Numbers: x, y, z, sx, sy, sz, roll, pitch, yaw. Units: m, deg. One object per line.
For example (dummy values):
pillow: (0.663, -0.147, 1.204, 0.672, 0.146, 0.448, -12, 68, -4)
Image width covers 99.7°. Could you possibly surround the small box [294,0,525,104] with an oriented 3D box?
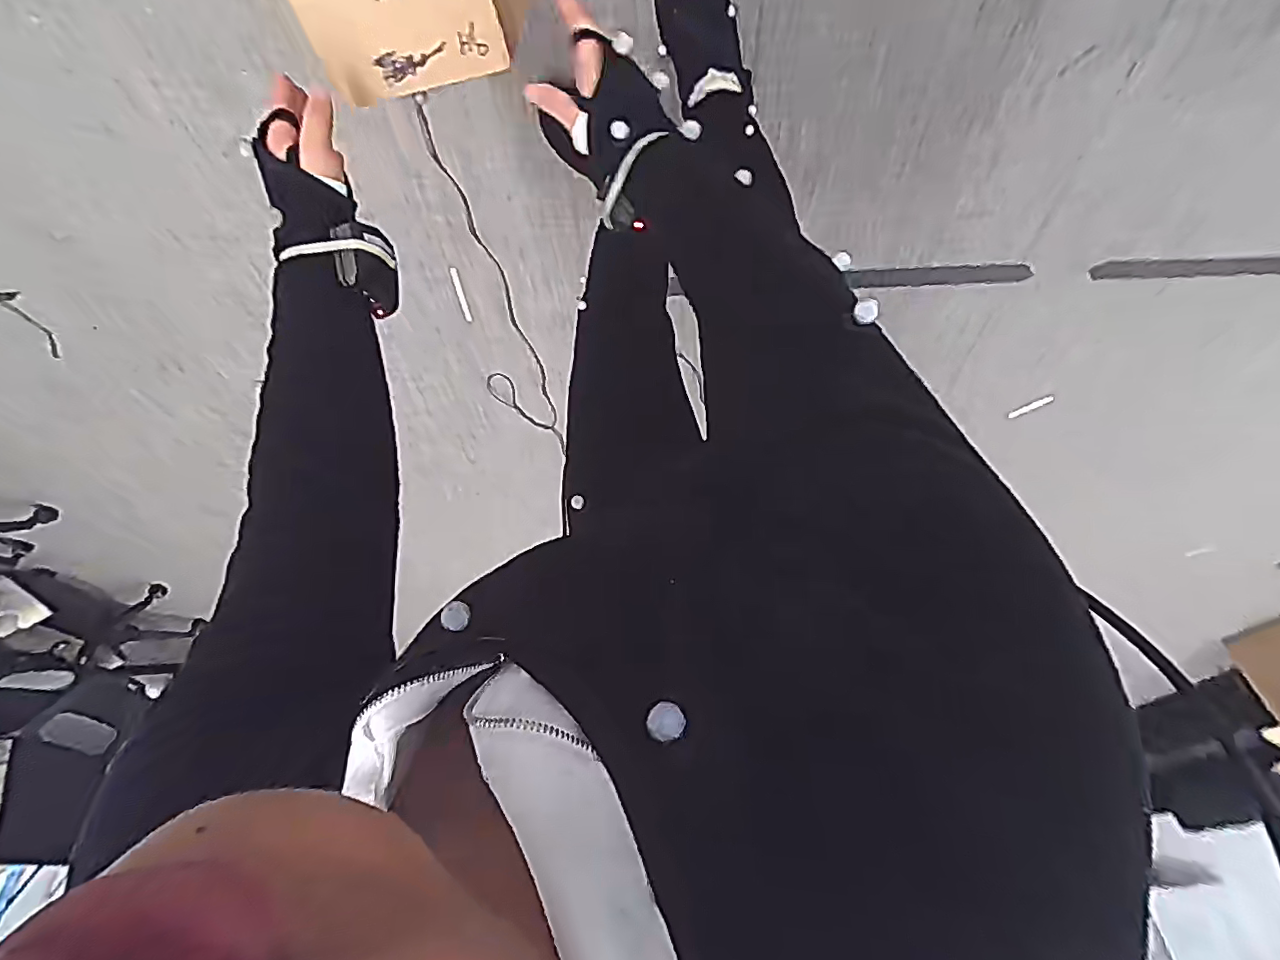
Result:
small box: (-0.212, -0.478, 0.482, 0.168, 0.176, 0.179, -8, 142, 7)
